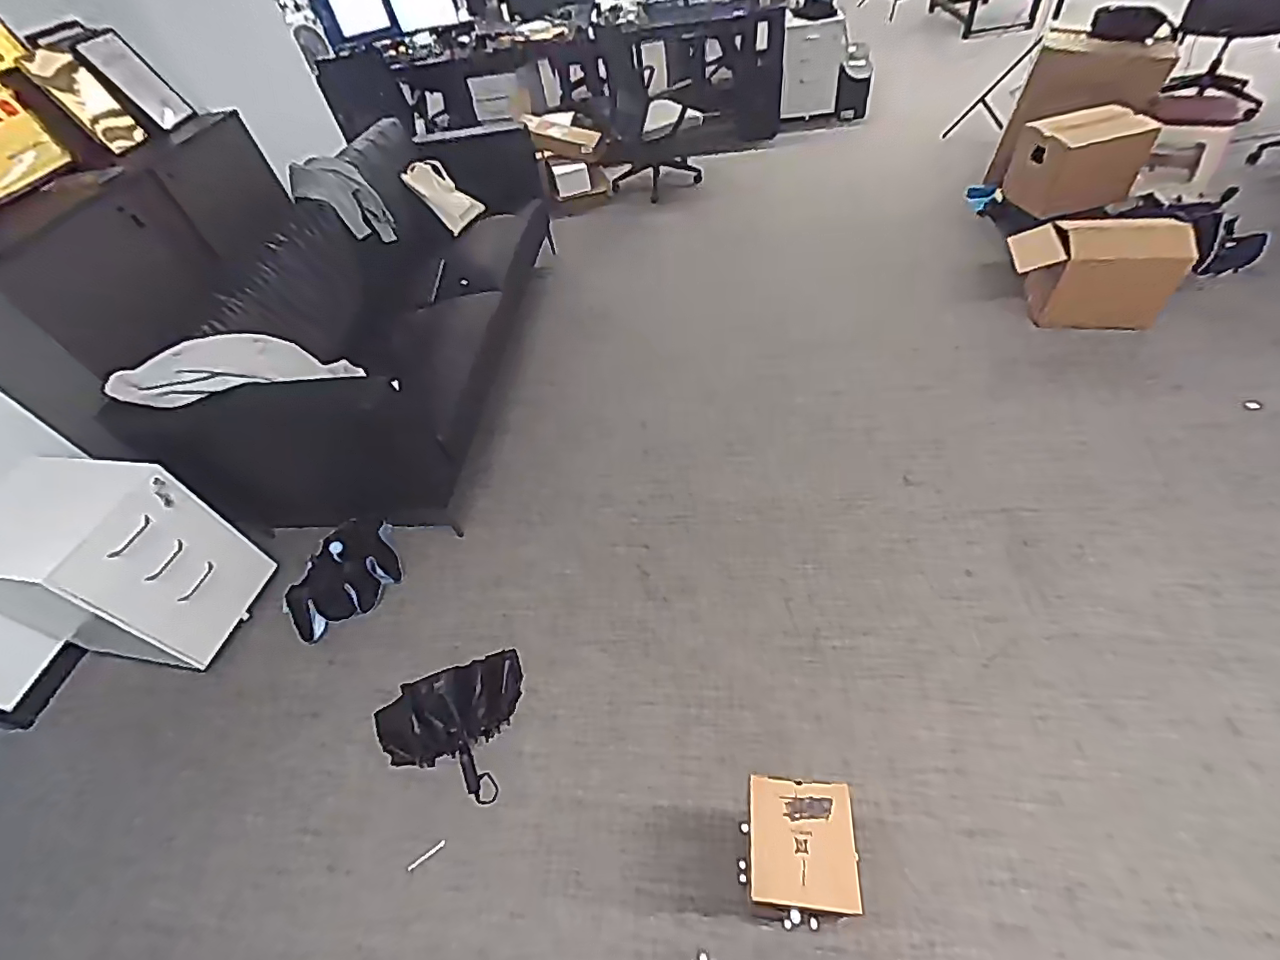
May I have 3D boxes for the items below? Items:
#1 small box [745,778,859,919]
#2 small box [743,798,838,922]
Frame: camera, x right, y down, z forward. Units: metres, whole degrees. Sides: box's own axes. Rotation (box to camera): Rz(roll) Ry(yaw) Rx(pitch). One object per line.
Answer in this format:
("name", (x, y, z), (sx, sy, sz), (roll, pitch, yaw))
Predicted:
("small box", (0.270, 0.642, 0.942), (0.168, 0.176, 0.179), (0, 51, 10))
("small box", (0.289, 0.750, 1.065), (0.168, 0.176, 0.179), (0, 49, 9))
